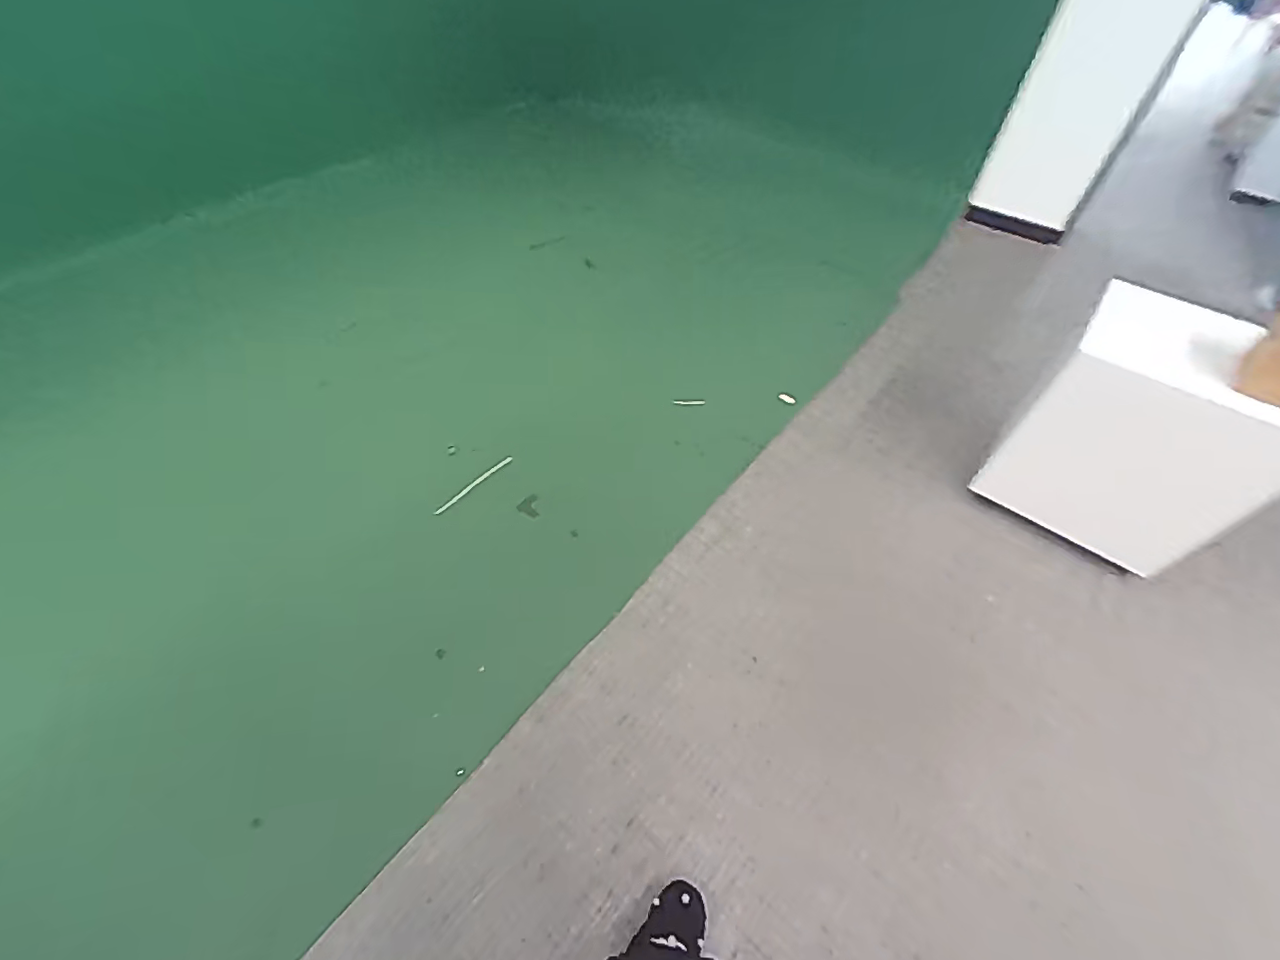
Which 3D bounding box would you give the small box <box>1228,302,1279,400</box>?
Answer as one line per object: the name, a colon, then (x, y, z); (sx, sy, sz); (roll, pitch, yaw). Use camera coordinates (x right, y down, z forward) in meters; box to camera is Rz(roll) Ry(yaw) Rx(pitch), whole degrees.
small box: (1.435, -0.286, 1.165); (0.168, 0.176, 0.179); (32, 58, 23)
